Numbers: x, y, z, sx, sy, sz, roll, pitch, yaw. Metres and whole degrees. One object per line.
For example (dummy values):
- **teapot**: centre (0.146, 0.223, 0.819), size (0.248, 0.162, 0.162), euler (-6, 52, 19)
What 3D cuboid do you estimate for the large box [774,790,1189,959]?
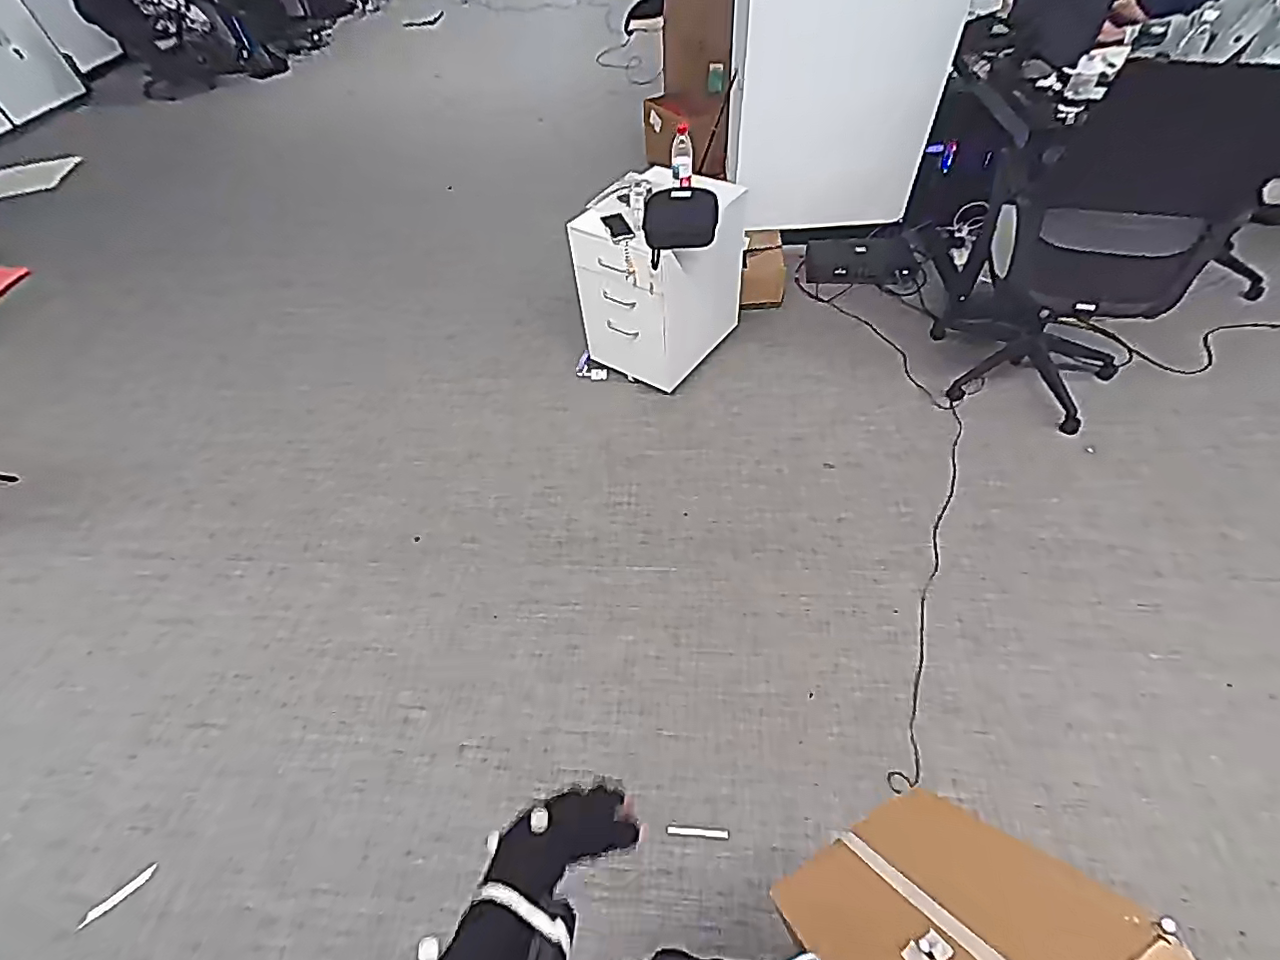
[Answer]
- **large box**: centre (0.439, 0.684, 0.682), size (0.320, 0.408, 0.320), euler (-27, 84, -12)
